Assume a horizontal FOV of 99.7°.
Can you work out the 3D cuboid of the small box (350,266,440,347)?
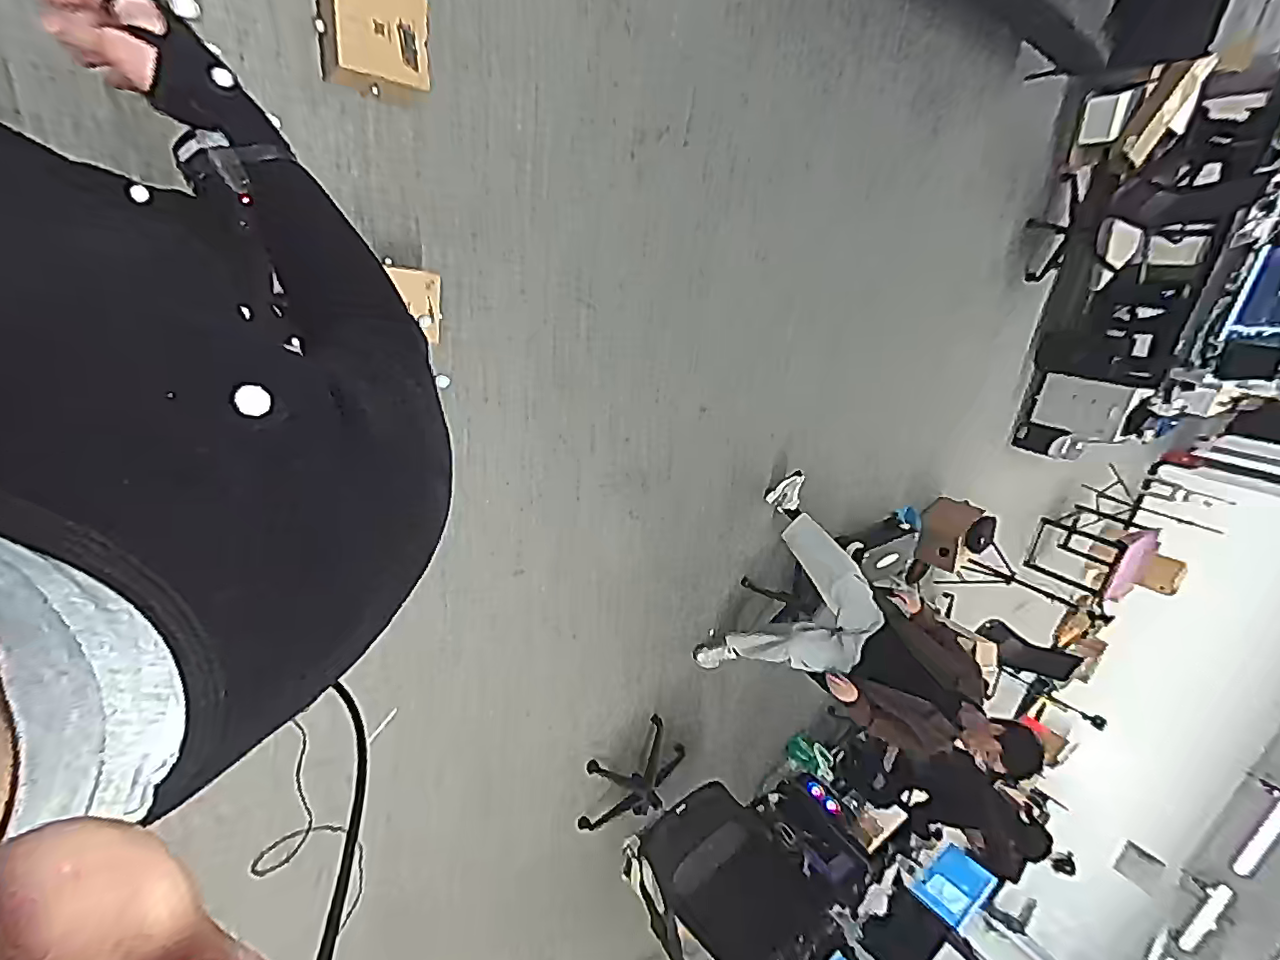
[{"bbox_3d":[-0.608,-0.427,1.332,0.179,0.176,0.168,-5,113,-36],"label":"small box"}]

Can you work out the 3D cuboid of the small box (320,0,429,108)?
[{"bbox_3d":[-0.562,-0.914,1.146,0.179,0.176,0.168,-8,114,-34],"label":"small box"}]
